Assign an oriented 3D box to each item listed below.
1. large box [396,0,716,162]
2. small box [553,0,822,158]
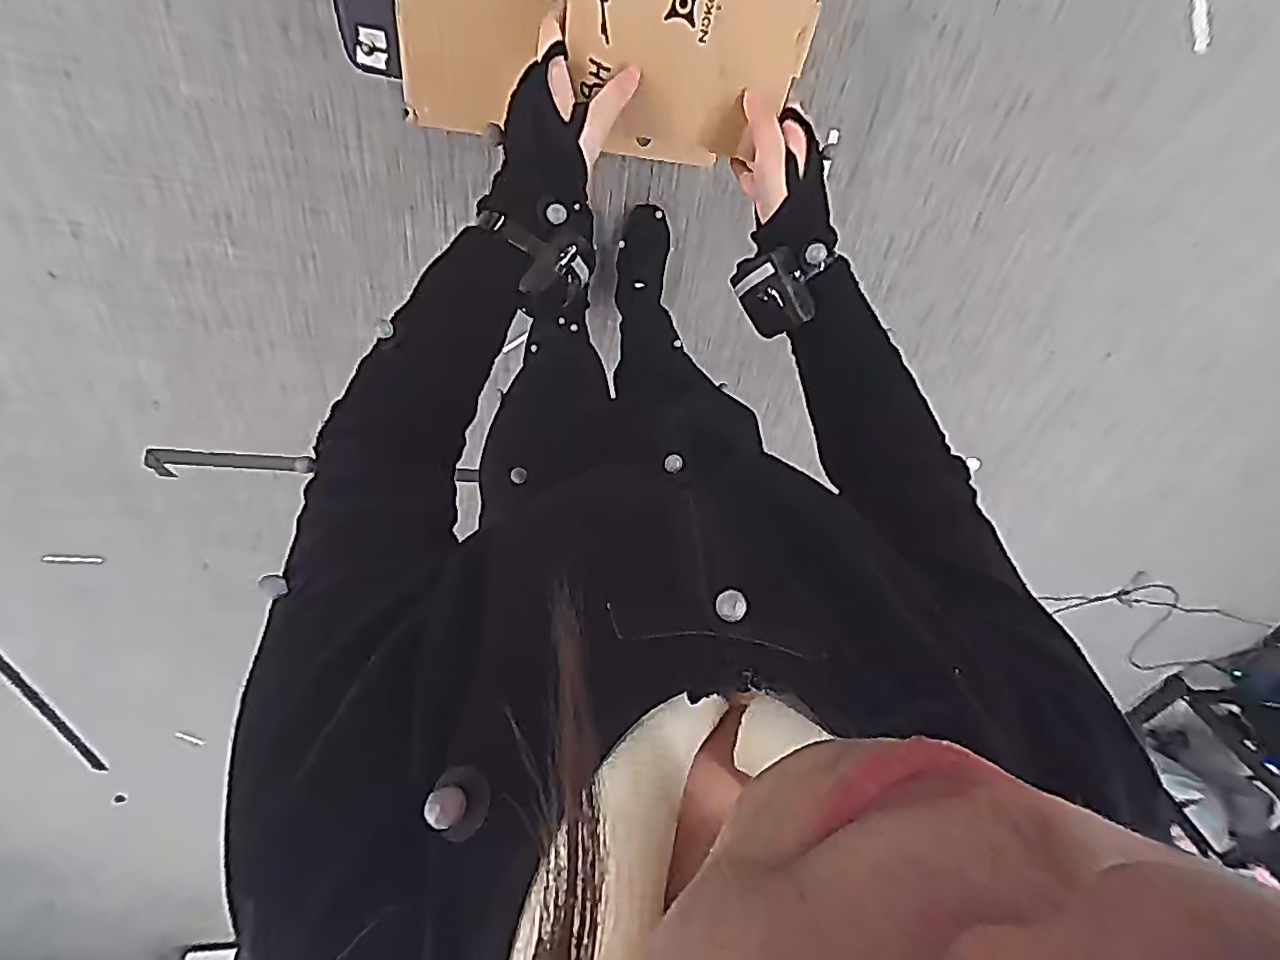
[{"bbox_3d":[-0.088,-0.654,0.733,0.408,0.320,0.320,3,127,-9],"label":"large box"},{"bbox_3d":[0.029,-0.379,0.431,0.179,0.176,0.168,5,127,-14],"label":"small box"}]
